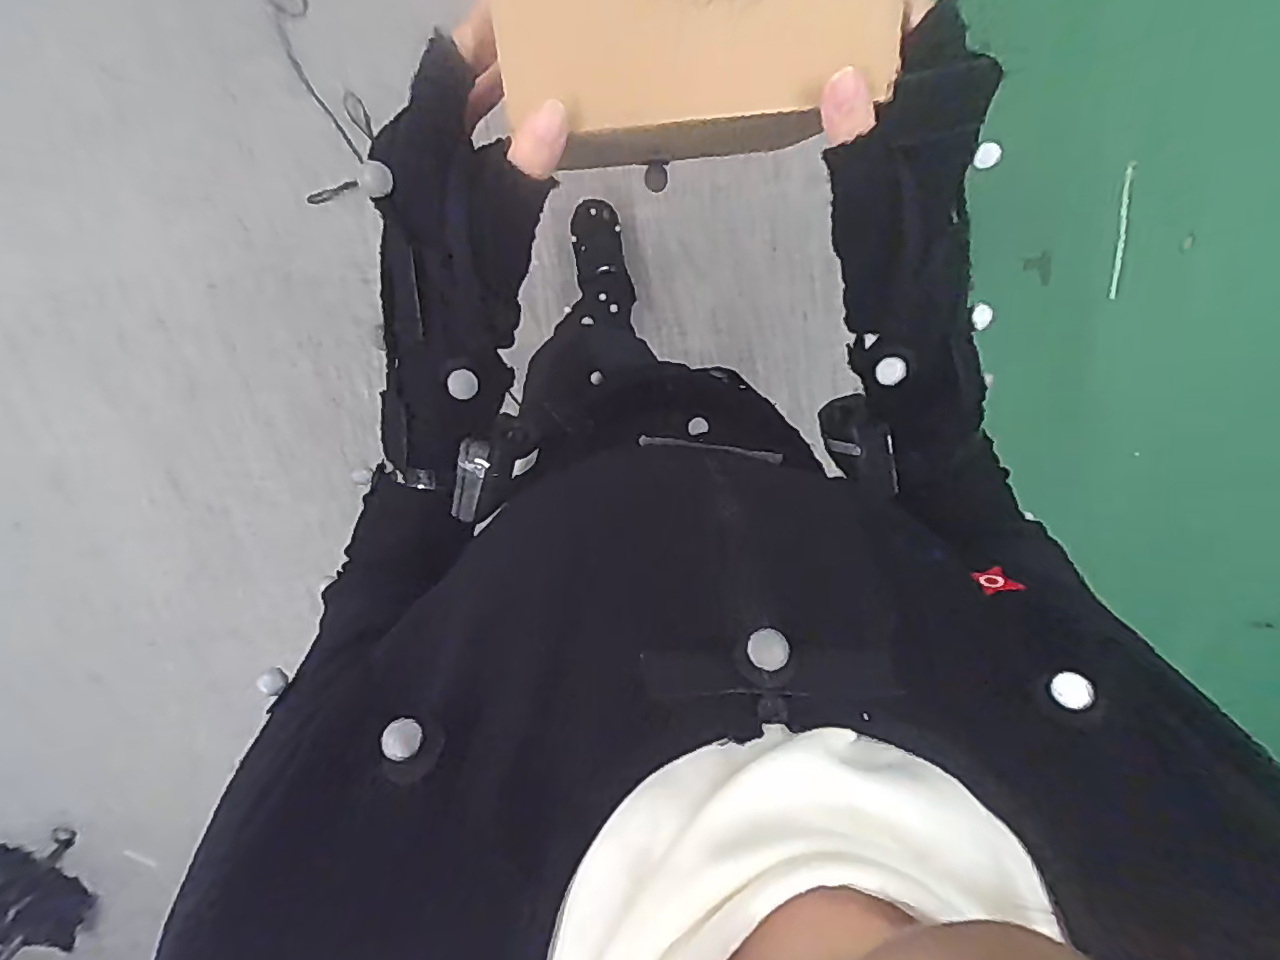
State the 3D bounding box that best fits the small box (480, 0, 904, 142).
[{"bbox_3d":[0.011,-0.275,0.250,0.168,0.176,0.179,-5,116,-1],"label":"small box"}]
